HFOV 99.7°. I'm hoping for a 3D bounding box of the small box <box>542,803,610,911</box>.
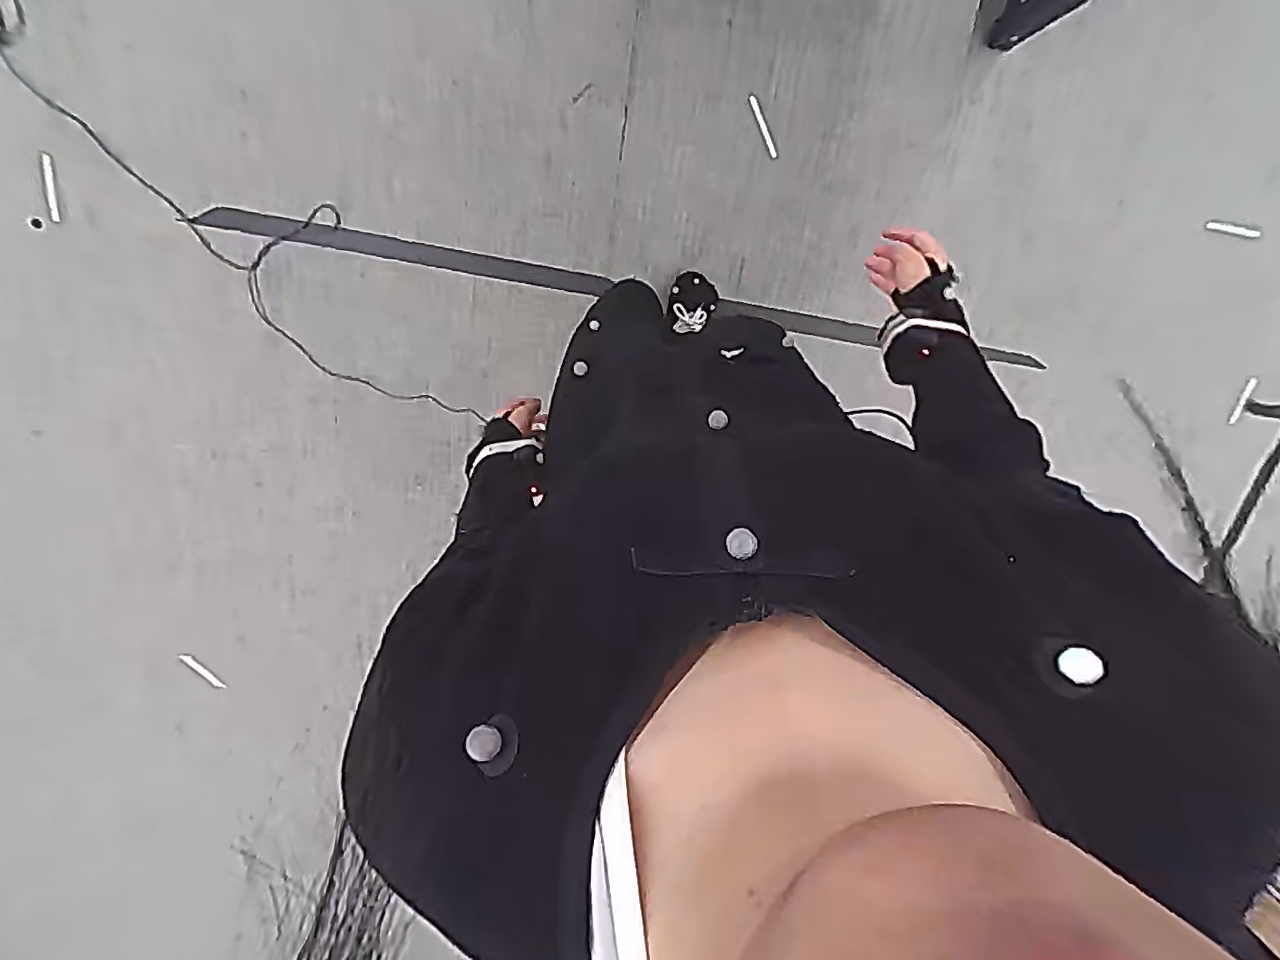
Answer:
[{"bbox_3d":[-0.166,0.995,1.431,0.168,0.176,0.179,2,108,-4],"label":"small box"}]
